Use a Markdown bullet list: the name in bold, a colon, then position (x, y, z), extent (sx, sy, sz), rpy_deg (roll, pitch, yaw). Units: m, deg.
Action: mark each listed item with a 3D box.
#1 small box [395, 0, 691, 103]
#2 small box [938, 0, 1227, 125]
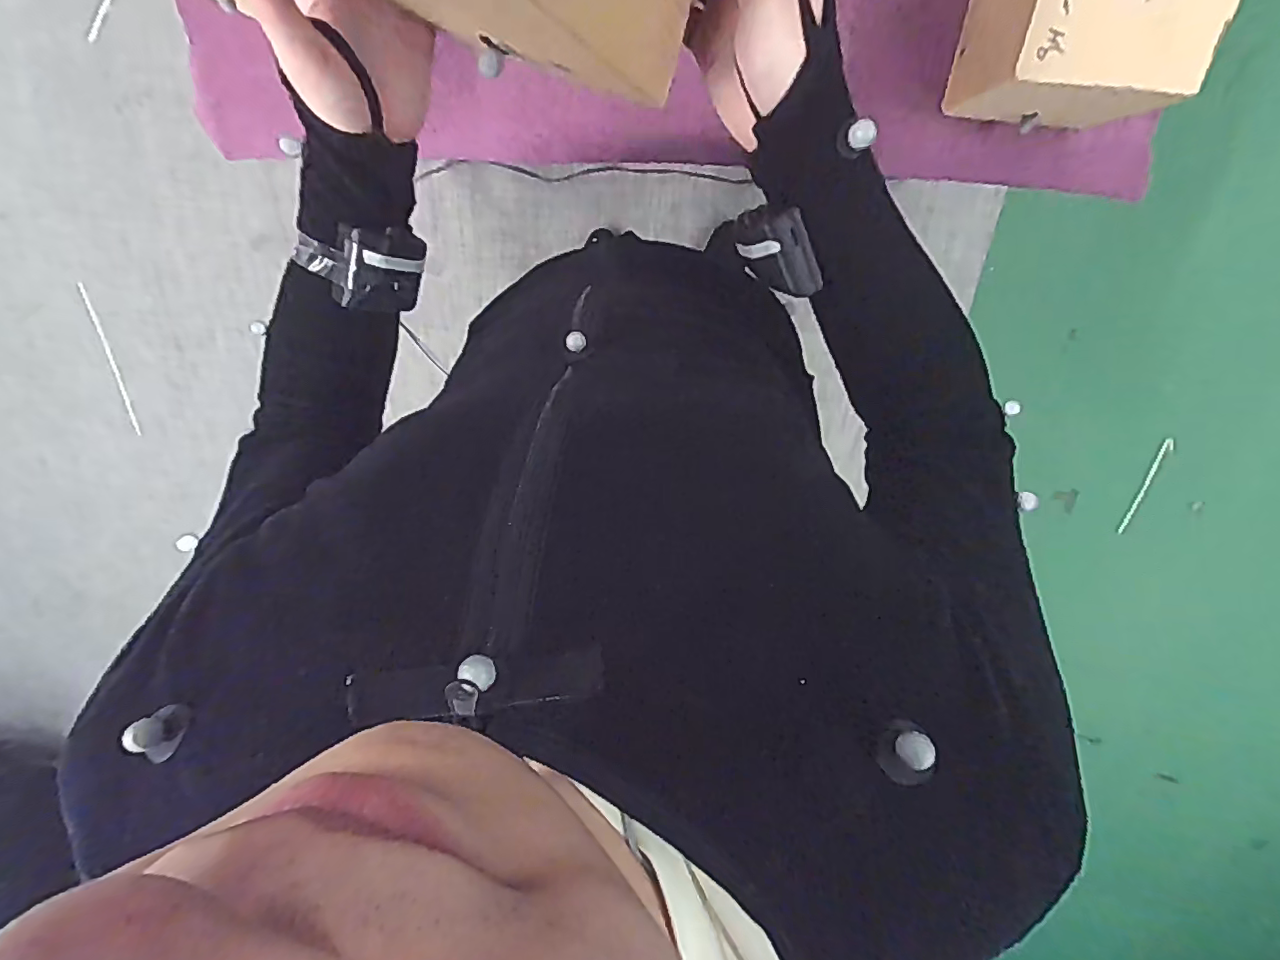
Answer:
- **small box**: position (-0.059, -0.312, 0.246), extent (0.168, 0.176, 0.179), rpy_deg (25, 118, 11)
- **small box**: position (0.452, -0.483, 0.560), extent (0.179, 0.176, 0.168), rpy_deg (7, 114, 1)
